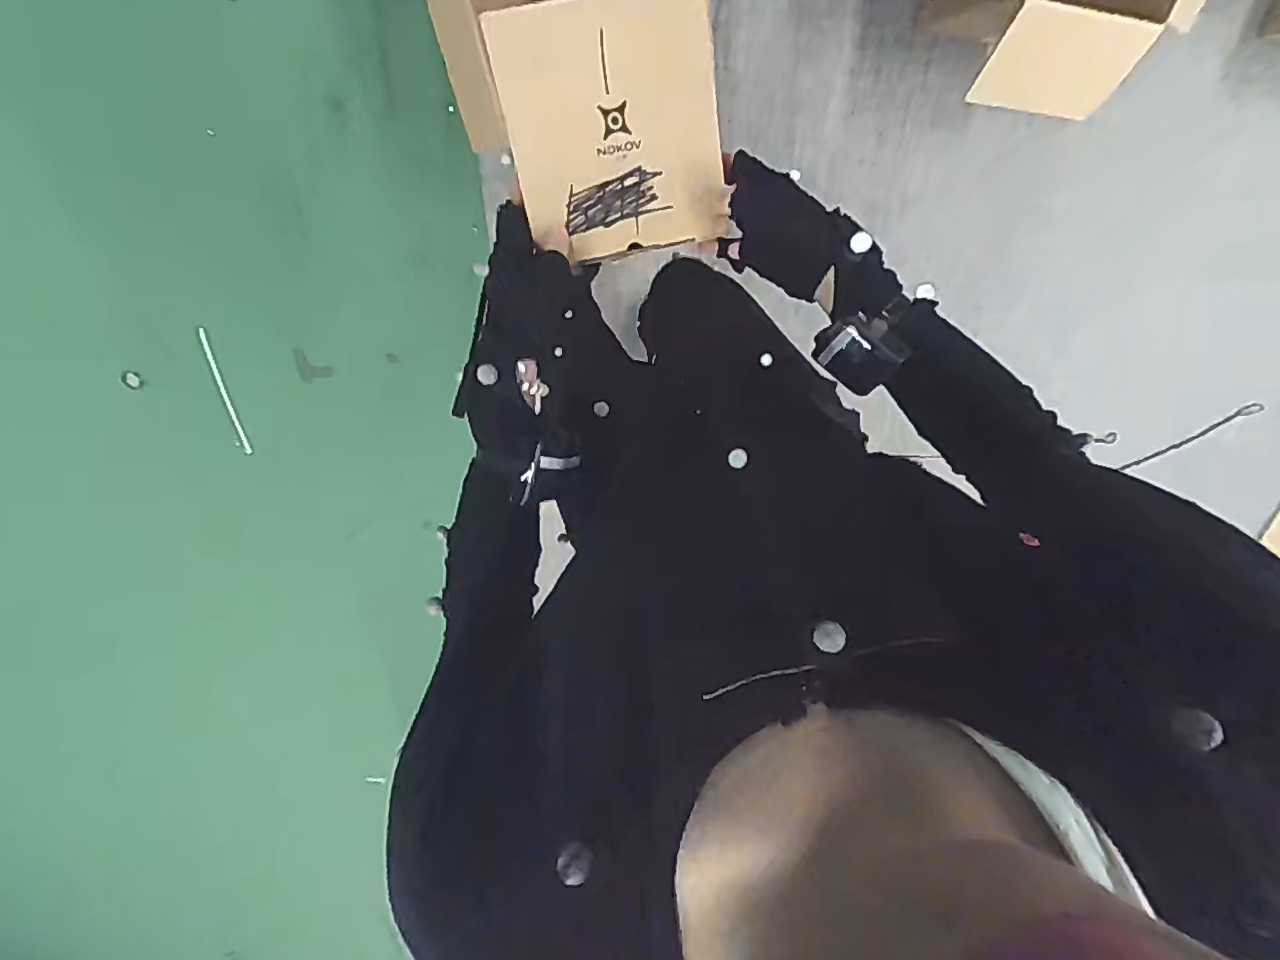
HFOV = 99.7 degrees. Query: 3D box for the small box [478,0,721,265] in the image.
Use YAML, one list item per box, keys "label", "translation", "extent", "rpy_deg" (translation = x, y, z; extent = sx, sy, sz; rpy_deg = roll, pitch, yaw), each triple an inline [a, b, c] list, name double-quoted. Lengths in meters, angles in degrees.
- label: "small box"
  translation: [-0.032, -0.305, 0.493]
  extent: [0.168, 0.176, 0.179]
  rpy_deg: [-12, 114, -3]
